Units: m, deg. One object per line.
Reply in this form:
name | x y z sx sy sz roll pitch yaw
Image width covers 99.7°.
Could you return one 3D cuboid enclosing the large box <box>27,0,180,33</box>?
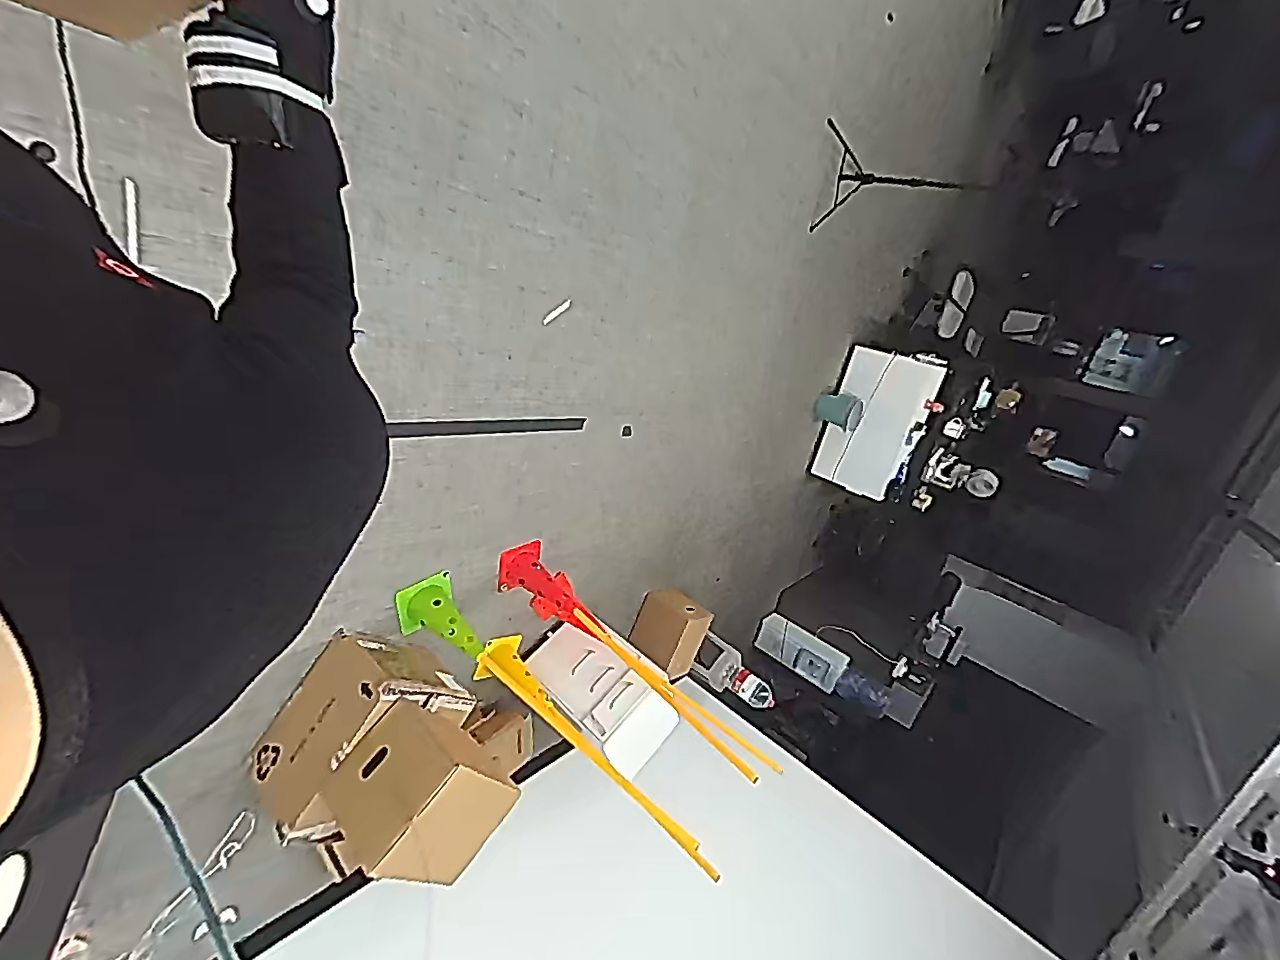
large box | -0.464 -0.485 0.228 0.408 0.320 0.320 -11 118 -52
